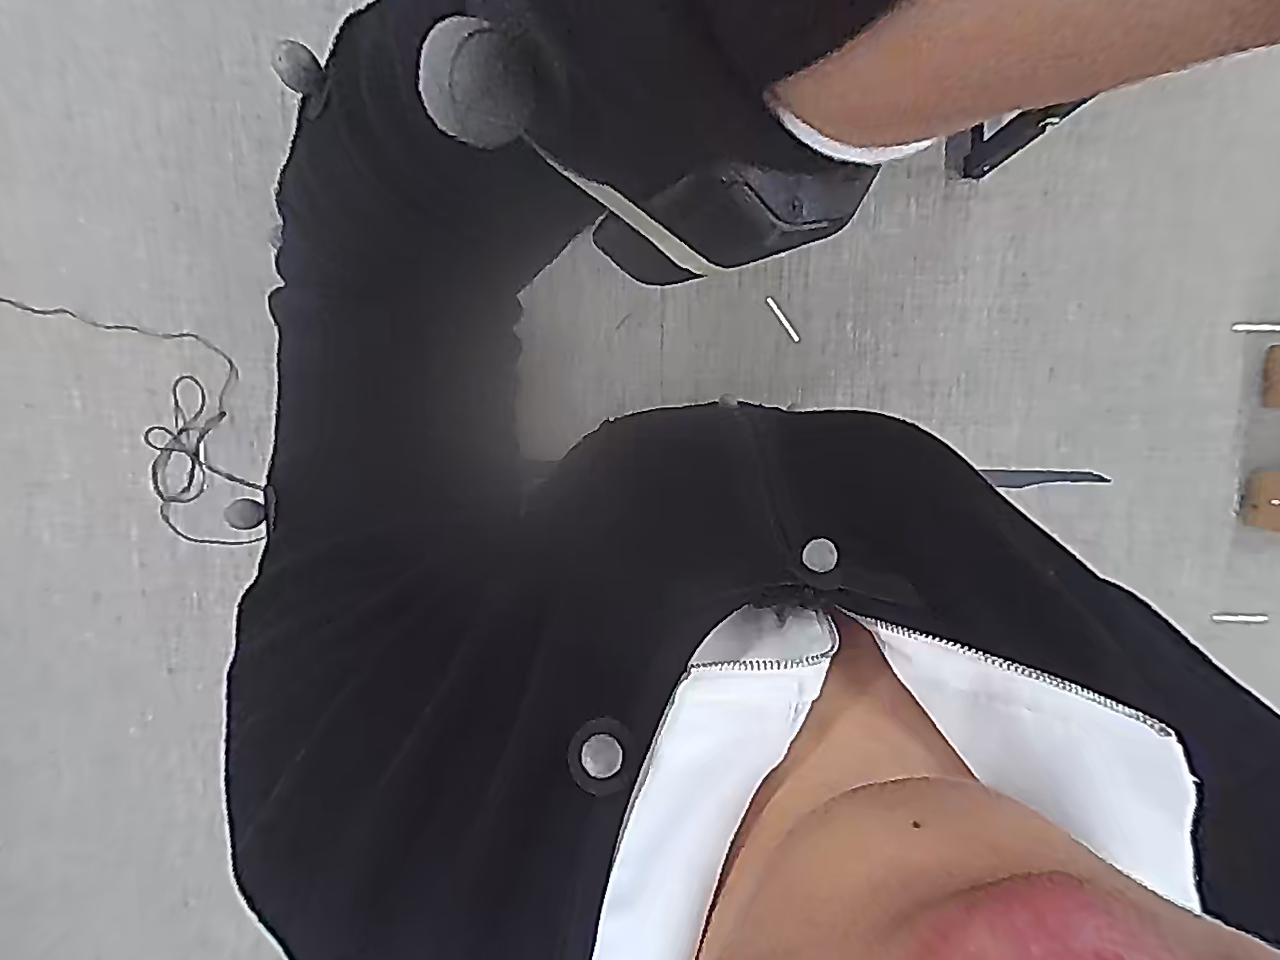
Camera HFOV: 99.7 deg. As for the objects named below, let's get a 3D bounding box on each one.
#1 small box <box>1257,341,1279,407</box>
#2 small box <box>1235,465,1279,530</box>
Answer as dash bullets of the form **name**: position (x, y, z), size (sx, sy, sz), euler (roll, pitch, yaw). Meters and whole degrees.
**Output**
- **small box**: position (1.751, -0.275, 1.380), size (0.168, 0.176, 0.179), euler (-2, 96, 0)
- **small box**: position (1.745, 0.050, 1.422), size (0.179, 0.176, 0.168), euler (2, 97, 1)
